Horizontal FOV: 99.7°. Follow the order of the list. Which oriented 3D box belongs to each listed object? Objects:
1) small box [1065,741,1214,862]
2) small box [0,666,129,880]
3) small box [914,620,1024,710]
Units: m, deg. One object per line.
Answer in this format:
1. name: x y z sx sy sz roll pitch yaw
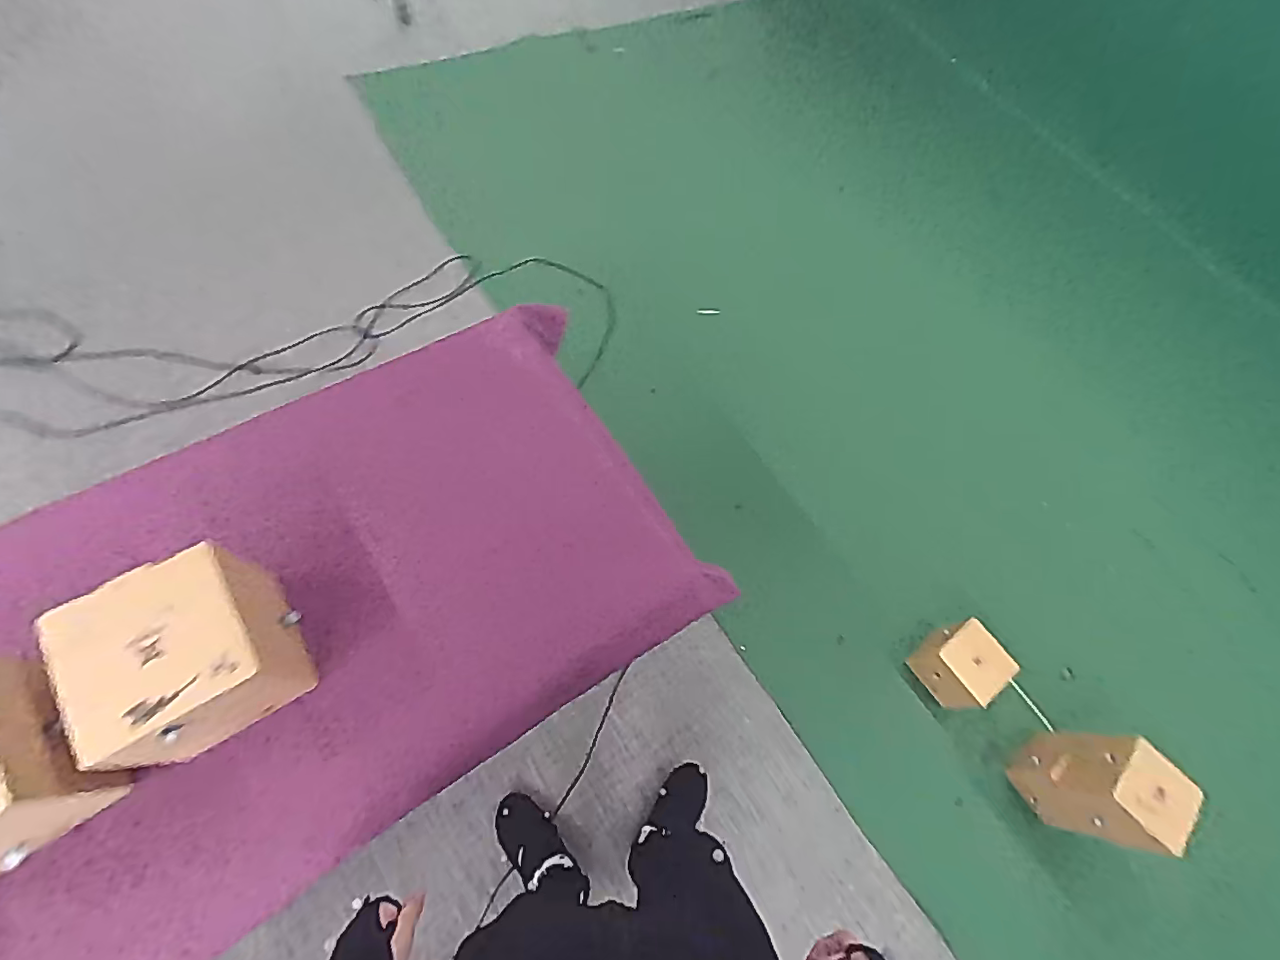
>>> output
1. small box: 1.155 0.736 1.263 0.179 0.176 0.168 -40 75 -22
2. small box: -0.714 0.323 0.575 0.168 0.176 0.179 -32 74 -20
3. small box: 0.907 0.523 1.513 0.179 0.176 0.168 -31 73 -21
